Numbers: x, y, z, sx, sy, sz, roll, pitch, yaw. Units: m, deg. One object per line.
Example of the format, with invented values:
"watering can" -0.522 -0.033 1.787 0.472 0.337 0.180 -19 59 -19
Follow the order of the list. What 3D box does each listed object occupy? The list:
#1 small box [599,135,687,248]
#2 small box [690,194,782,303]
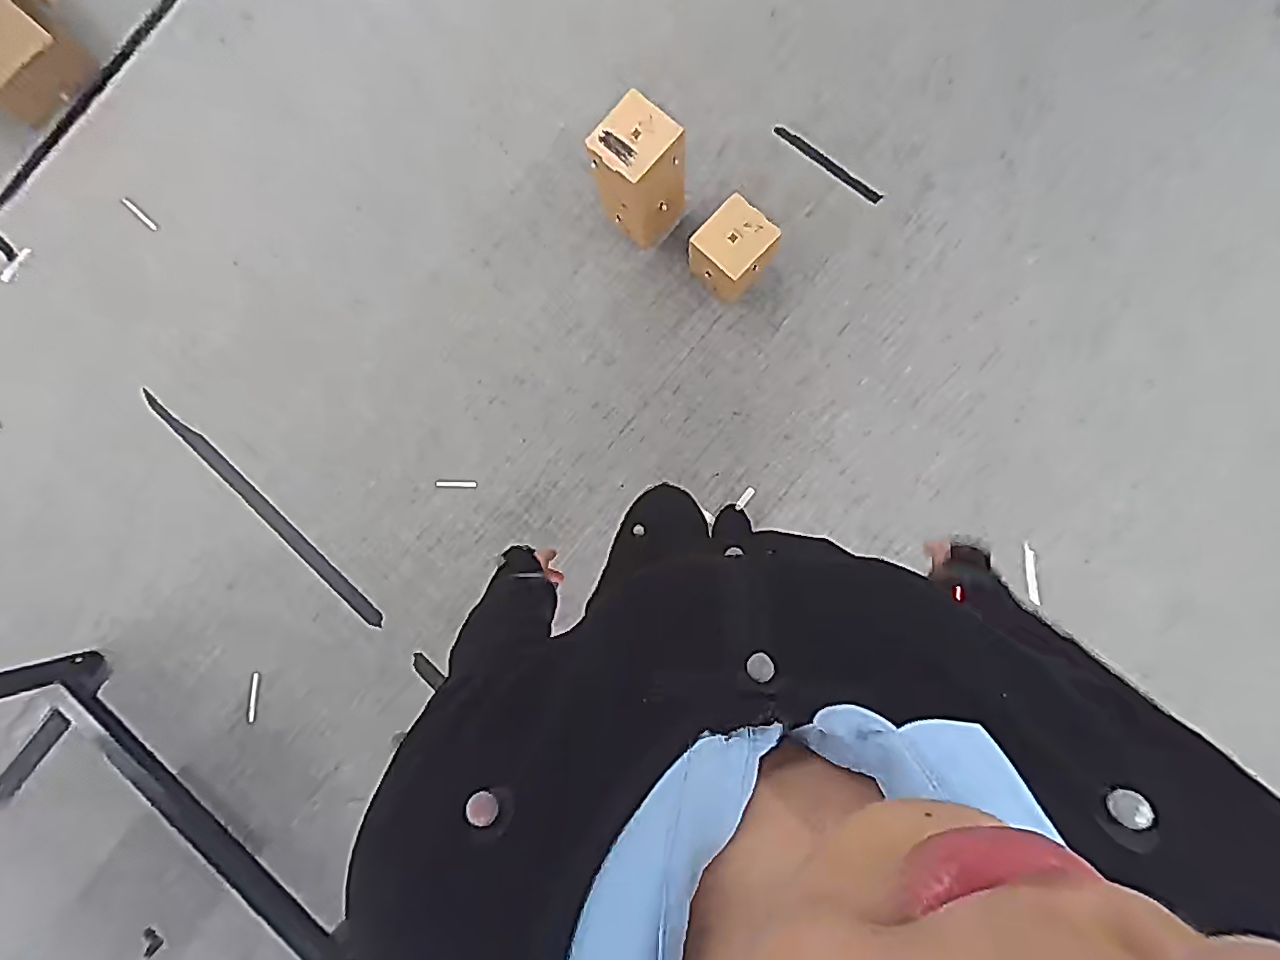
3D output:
"small box" 0.012 -0.787 1.492 0.168 0.176 0.179 44 91 7
"small box" 0.253 -0.612 1.456 0.168 0.176 0.179 44 91 5
